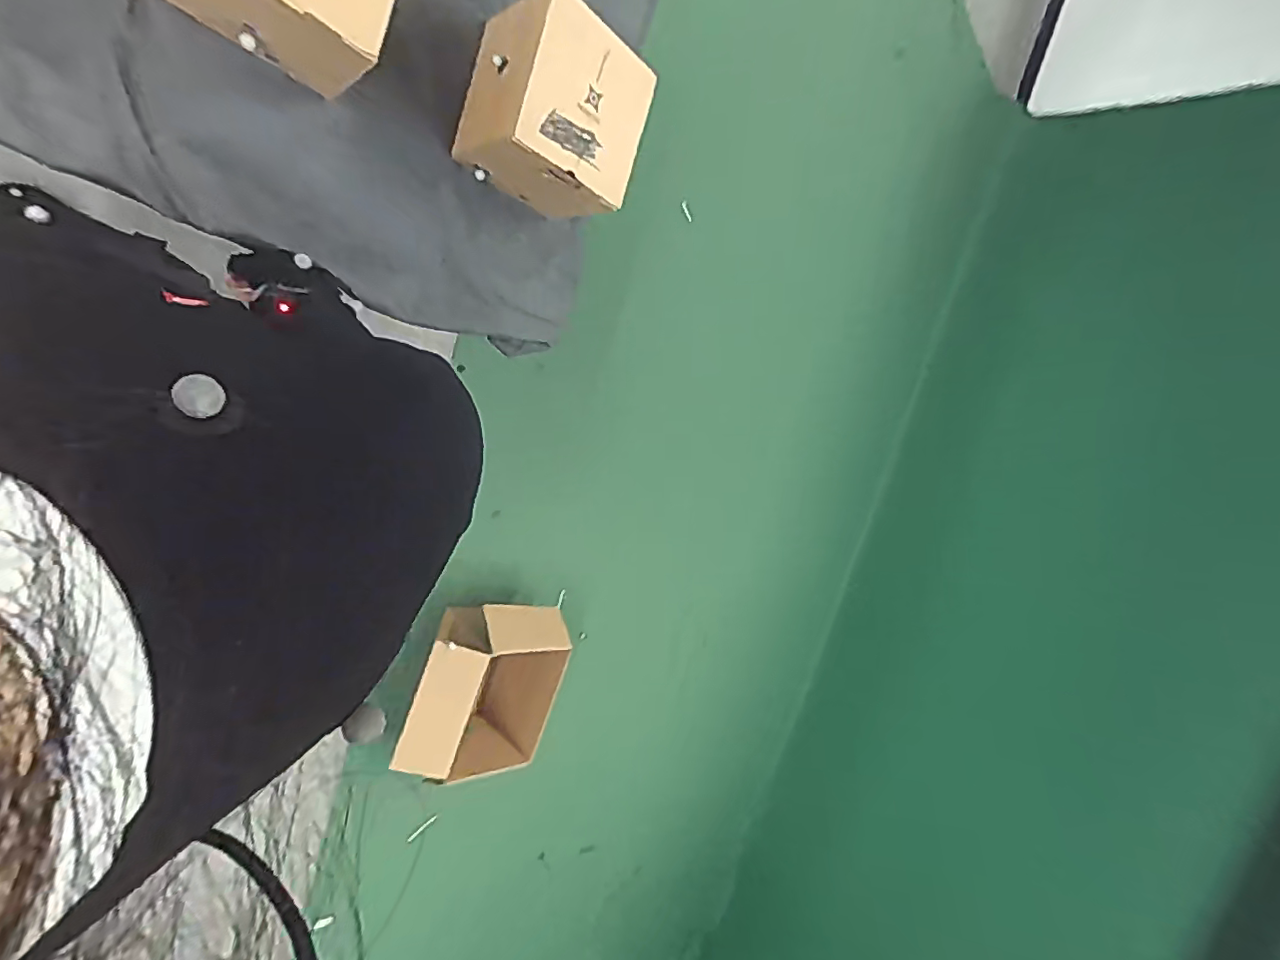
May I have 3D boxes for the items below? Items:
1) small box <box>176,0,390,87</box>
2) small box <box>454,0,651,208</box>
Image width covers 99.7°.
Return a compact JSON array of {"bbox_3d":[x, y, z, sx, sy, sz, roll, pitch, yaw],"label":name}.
[{"bbox_3d":[-0.326,-0.507,0.488,0.168,0.176,0.179,14,97,-46],"label":"small box"},{"bbox_3d":[-0.119,-0.477,0.702,0.168,0.176,0.179,12,98,-46],"label":"small box"}]
